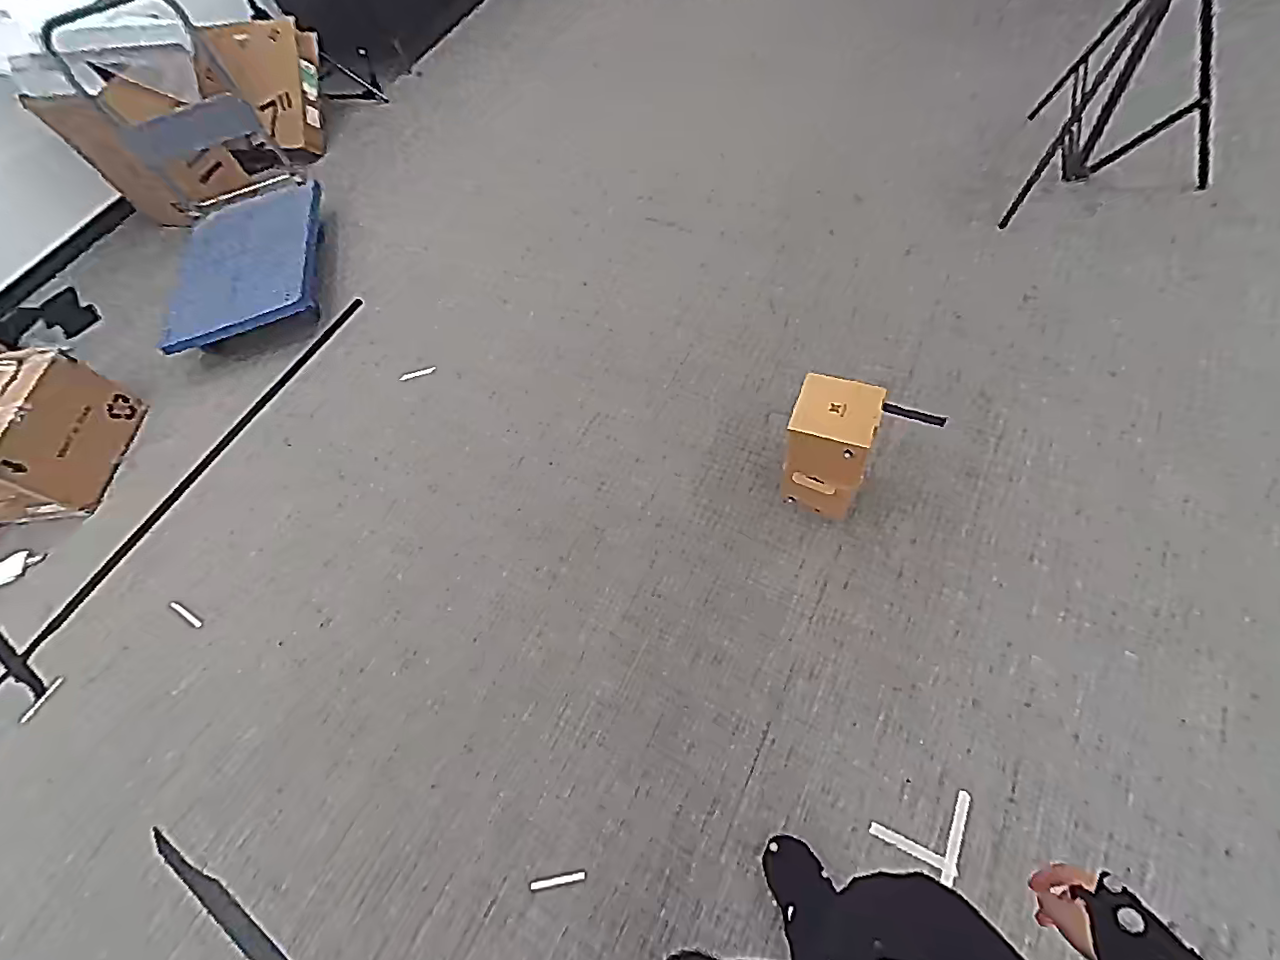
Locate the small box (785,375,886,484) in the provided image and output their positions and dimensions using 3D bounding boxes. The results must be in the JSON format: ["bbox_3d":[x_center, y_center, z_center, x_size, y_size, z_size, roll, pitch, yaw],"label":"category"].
[{"bbox_3d":[0.439,-0.110,1.239,0.179,0.176,0.168,16,66,20],"label":"small box"}]

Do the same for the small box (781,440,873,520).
[{"bbox_3d":[0.469,-0.024,1.374,0.168,0.176,0.179,23,68,23],"label":"small box"}]
